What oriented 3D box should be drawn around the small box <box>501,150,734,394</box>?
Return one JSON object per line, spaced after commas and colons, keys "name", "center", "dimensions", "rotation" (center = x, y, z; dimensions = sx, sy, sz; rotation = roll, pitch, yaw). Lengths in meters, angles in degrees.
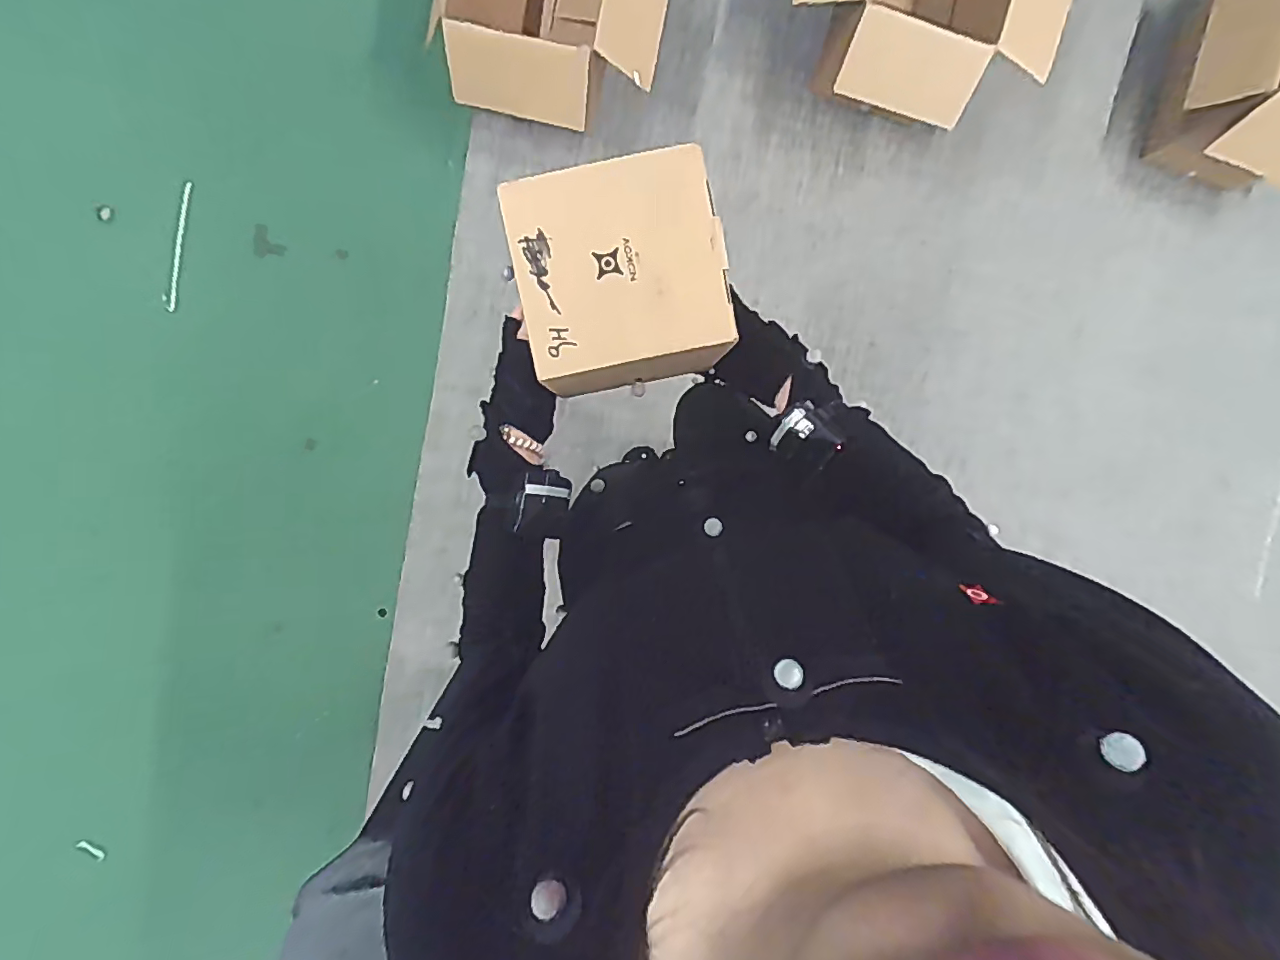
{"name": "small box", "center": [-0.021, -0.187, 0.535], "dimensions": [0.179, 0.176, 0.168], "rotation": [-11, 93, -1]}
